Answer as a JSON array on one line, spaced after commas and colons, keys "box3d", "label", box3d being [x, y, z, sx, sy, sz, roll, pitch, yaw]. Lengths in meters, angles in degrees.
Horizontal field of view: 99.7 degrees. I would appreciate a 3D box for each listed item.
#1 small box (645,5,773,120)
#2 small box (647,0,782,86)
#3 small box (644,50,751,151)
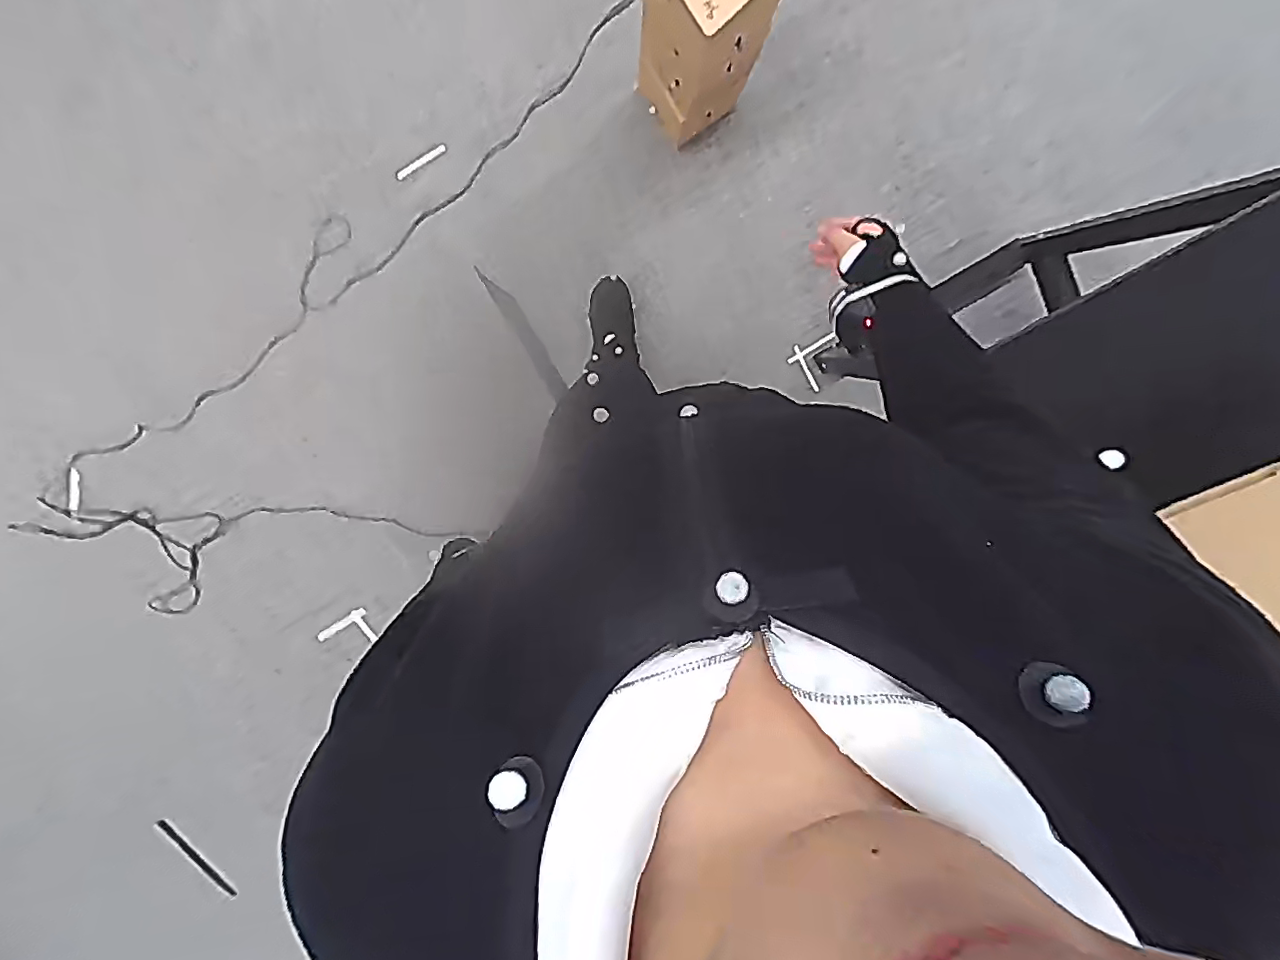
[{"box3d": [0.125, -0.850, 1.046, 0.179, 0.176, 0.168, -37, 102, 6], "label": "small box"}, {"box3d": [0.124, -0.809, 0.887, 0.179, 0.176, 0.168, -38, 101, 7], "label": "small box"}, {"box3d": [0.119, -0.883, 1.205, 0.179, 0.176, 0.168, -33, 101, 7], "label": "small box"}]
